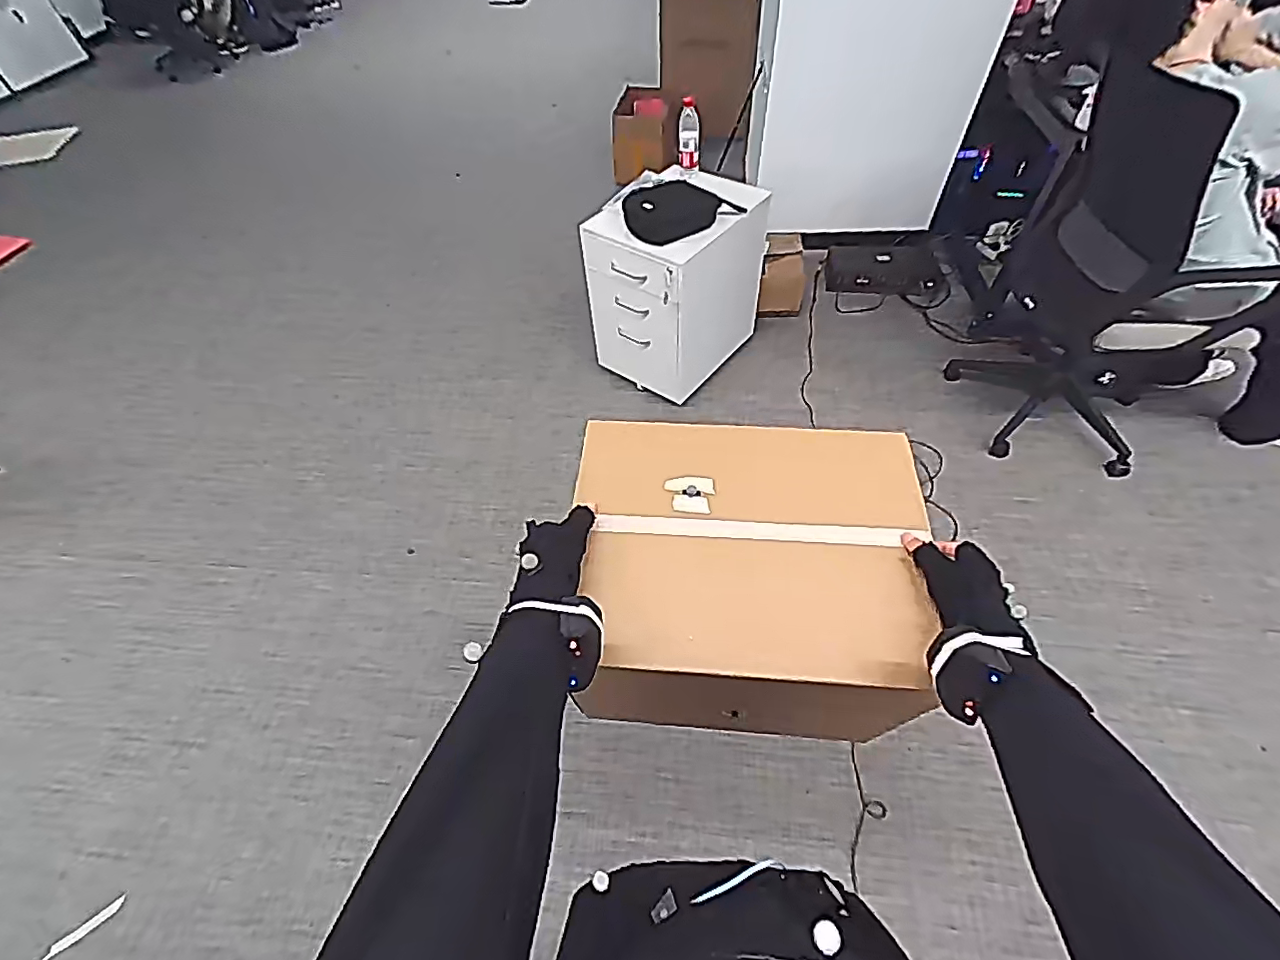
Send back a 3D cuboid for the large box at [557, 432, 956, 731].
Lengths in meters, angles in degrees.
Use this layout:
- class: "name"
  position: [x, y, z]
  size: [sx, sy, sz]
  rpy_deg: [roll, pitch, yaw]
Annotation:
- class: "large box"
  position: [0.131, 0.149, 0.743]
  size: [0.408, 0.320, 0.320]
  rpy_deg: [2, 56, 5]
